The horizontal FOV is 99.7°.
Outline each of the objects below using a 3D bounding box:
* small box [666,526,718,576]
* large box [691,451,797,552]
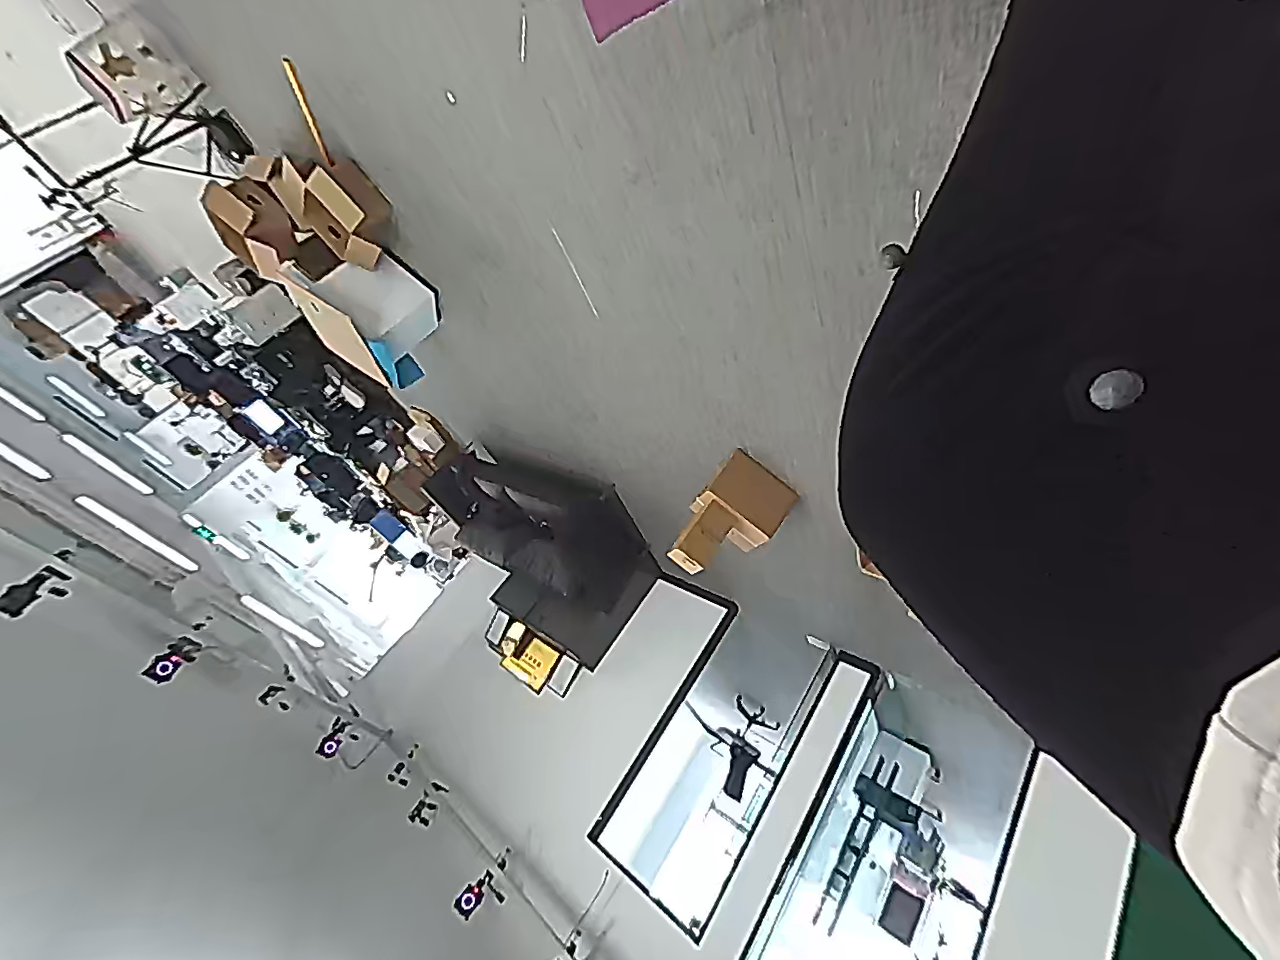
[{"bbox_3d":[0.263,0.350,2.686,0.168,0.176,0.179,39,157,0],"label":"small box"},{"bbox_3d":[0.548,0.118,2.885,0.408,0.320,0.320,38,157,1],"label":"large box"}]
